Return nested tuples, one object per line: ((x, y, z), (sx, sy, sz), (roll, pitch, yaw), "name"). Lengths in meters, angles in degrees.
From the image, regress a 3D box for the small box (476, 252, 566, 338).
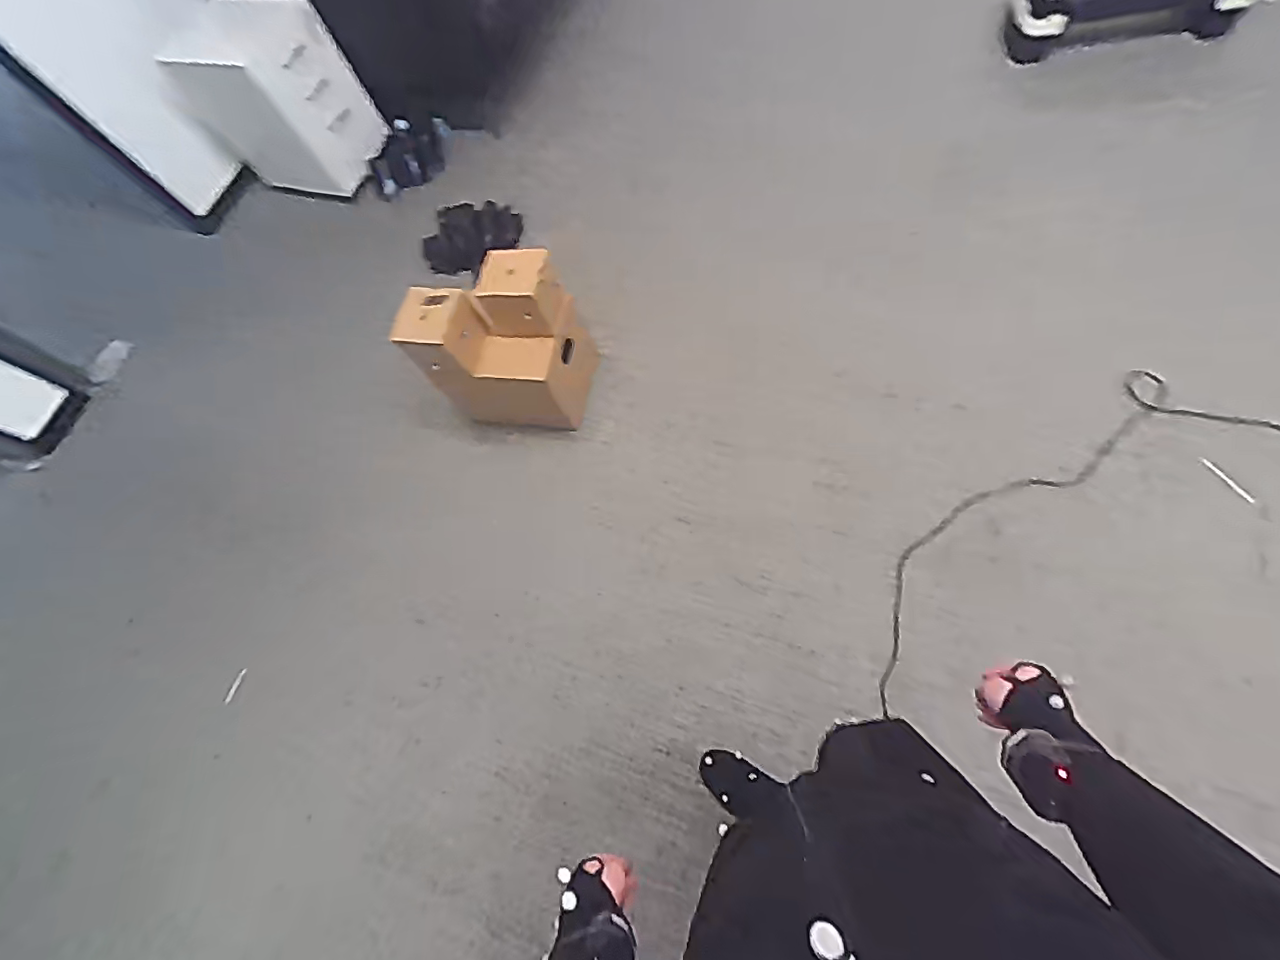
((-0.326, -0.516, 1.524), (0.179, 0.176, 0.168), (3, 65, 15), "small box")

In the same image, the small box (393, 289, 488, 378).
((-0.555, -0.412, 1.531), (0.168, 0.176, 0.179), (8, 73, 16), "small box")
